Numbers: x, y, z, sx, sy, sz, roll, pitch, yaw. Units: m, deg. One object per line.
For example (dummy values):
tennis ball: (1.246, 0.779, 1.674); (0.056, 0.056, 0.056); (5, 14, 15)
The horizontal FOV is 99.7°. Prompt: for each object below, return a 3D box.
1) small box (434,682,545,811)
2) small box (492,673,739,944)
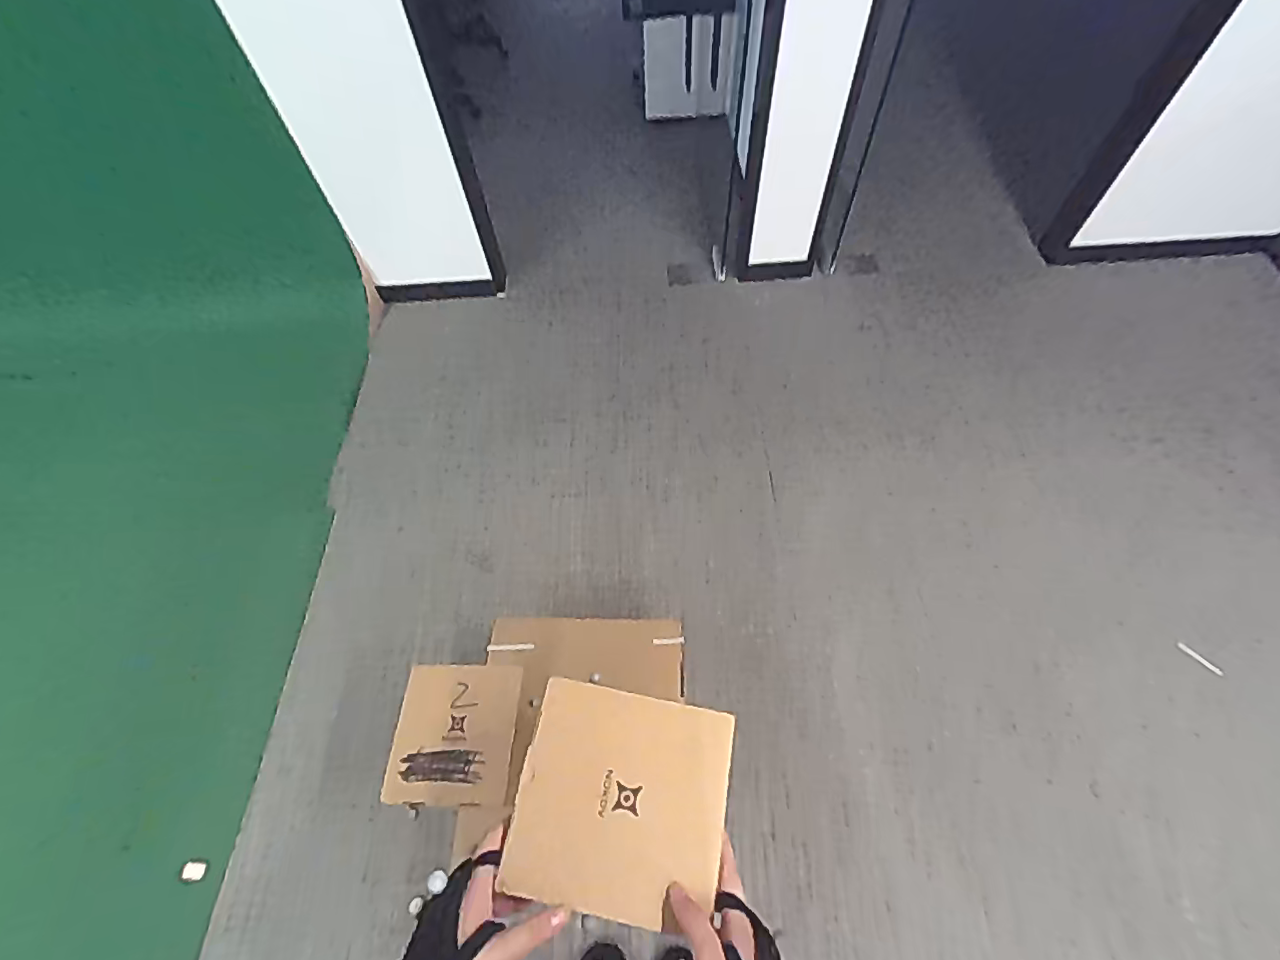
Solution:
small box: (-0.226, 0.466, 0.936); (0.168, 0.176, 0.179); (2, 56, 6)
small box: (-0.014, 0.296, 0.515); (0.179, 0.176, 0.168); (10, 62, 6)
